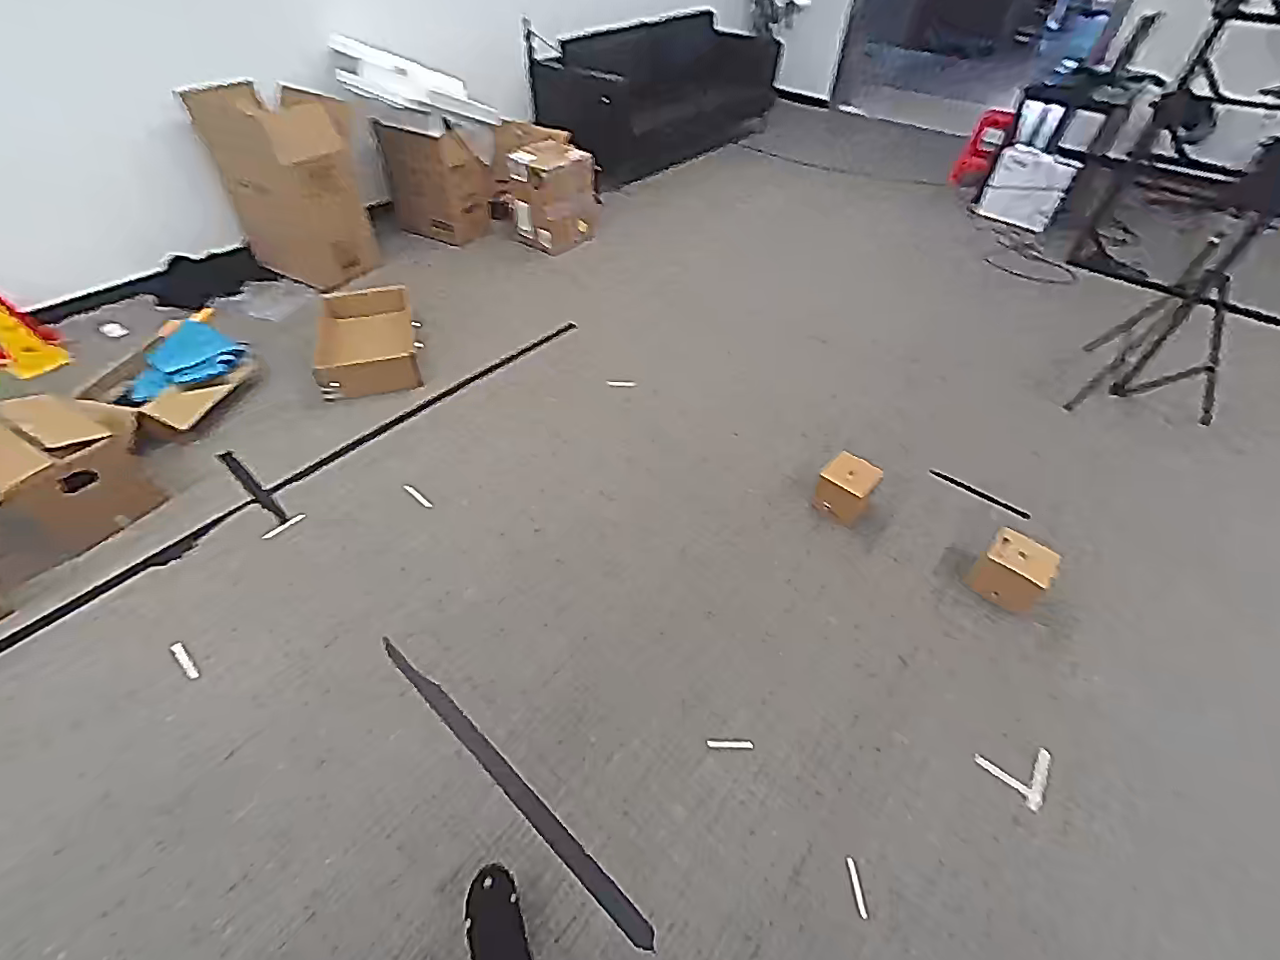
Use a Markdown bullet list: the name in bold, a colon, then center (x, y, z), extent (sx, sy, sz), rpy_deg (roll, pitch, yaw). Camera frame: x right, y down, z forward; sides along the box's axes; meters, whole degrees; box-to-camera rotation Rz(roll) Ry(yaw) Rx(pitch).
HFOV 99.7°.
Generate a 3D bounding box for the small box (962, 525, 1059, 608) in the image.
- **small box**: center (1.187, 0.286, 1.738), extent (0.179, 0.176, 0.168), rpy_deg (35, 56, 26)

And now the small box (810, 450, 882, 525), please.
- **small box**: center (0.743, 0.027, 1.970), extent (0.168, 0.176, 0.179), rpy_deg (34, 56, 28)
